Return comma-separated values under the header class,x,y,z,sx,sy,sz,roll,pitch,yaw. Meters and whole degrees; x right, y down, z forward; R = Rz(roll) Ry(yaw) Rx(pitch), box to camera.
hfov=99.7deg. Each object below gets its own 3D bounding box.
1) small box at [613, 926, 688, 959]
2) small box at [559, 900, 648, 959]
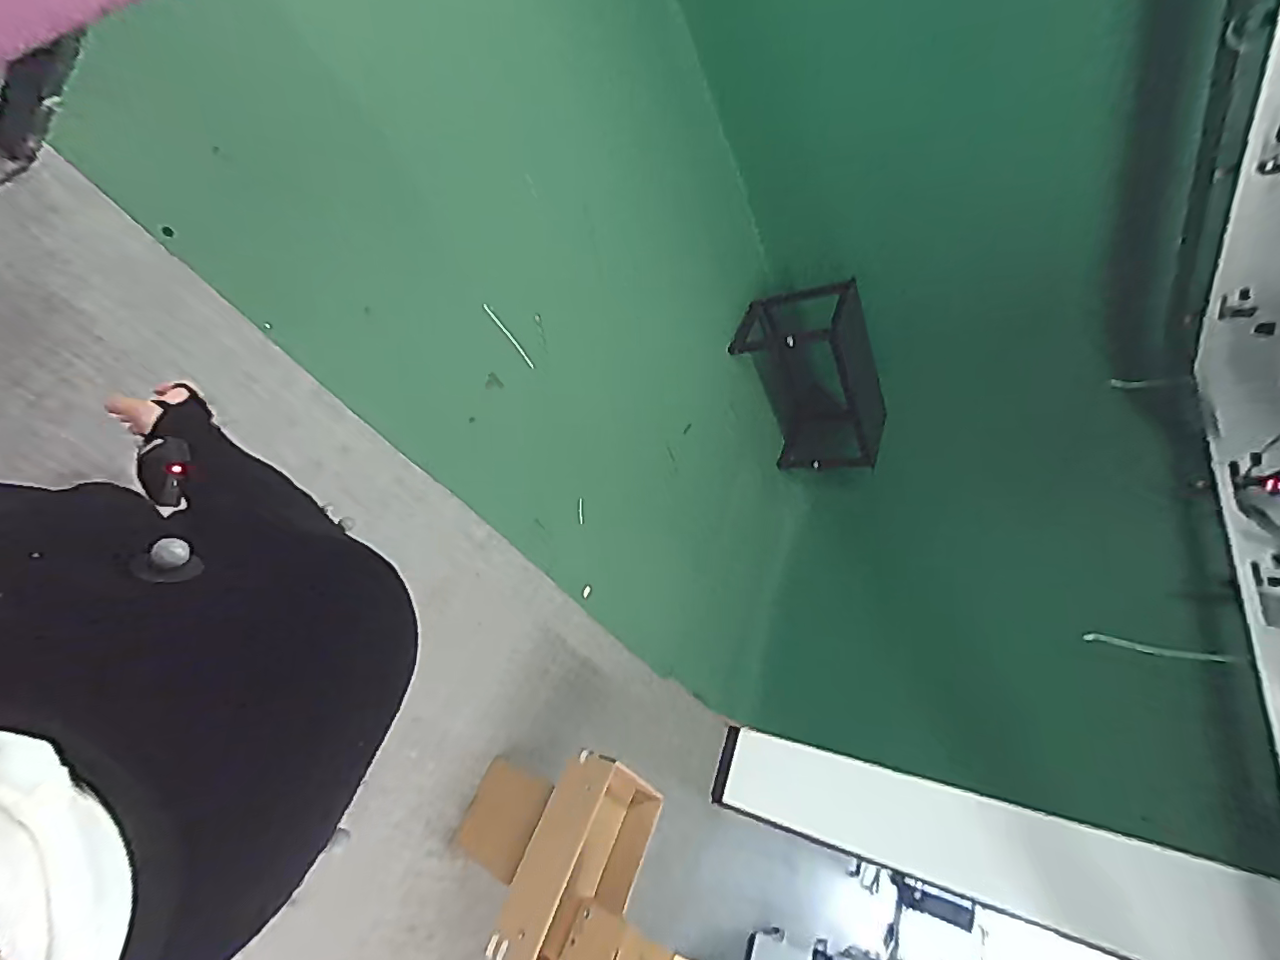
class,x,y,z,sx,sy,sz,roll,pitch,yaw
small box,0.021,1.376,1.490,0.179,0.176,0.168,60,45,-35
small box,-0.109,1.375,1.587,0.168,0.176,0.179,-60,135,-35
